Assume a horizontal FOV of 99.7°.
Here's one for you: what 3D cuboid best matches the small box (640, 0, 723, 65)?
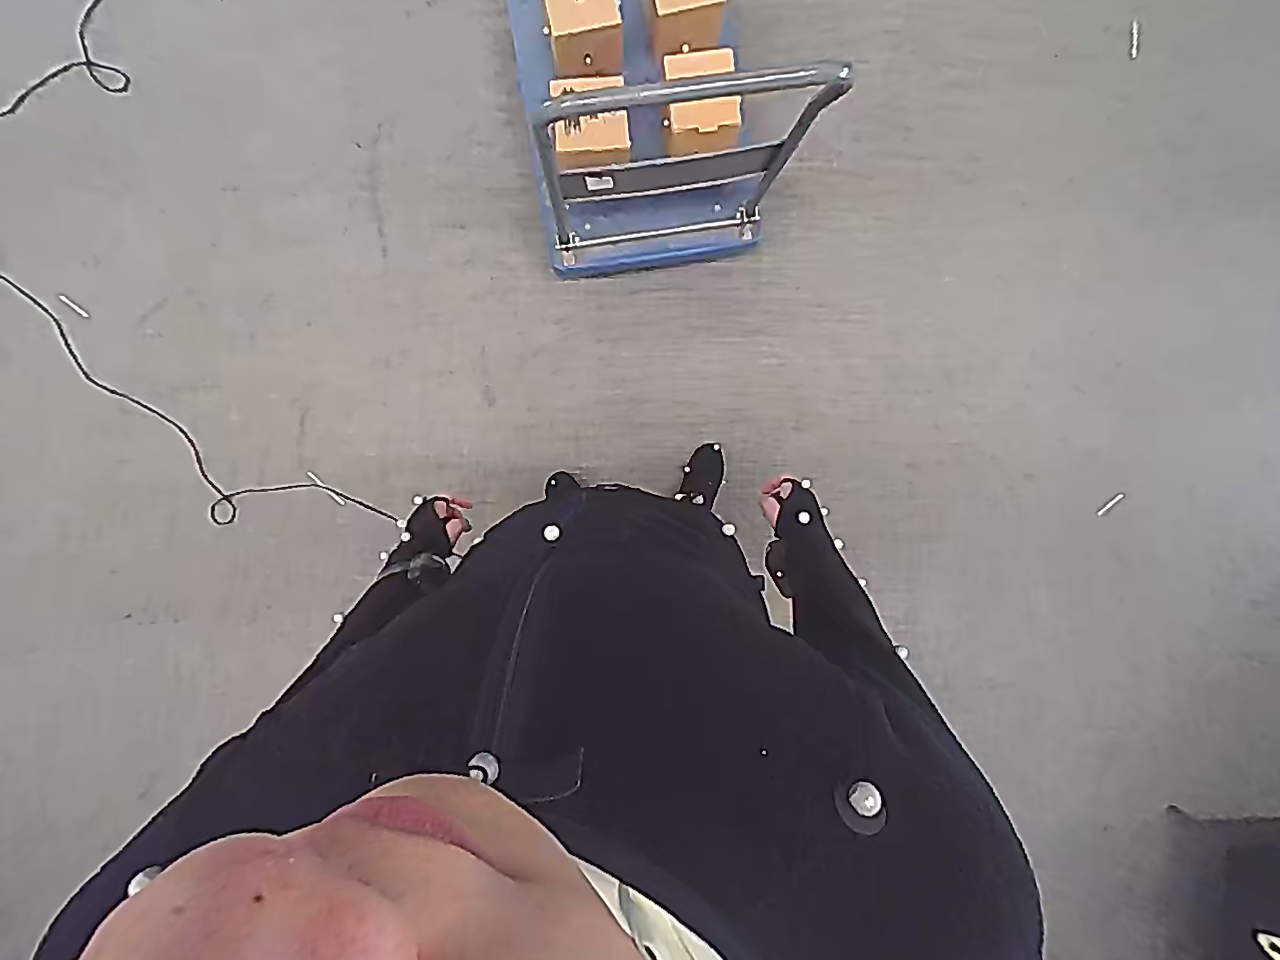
[{"bbox_3d":[0.096,-1.192,1.347,0.168,0.176,0.179,-13,94,0],"label":"small box"}]

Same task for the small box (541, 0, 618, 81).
[{"bbox_3d":[-0.149,-1.134,1.342,0.168,0.176,0.179,-13,93,-2],"label":"small box"}]

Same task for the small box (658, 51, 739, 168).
[{"bbox_3d":[0.141,-0.926,1.363,0.168,0.176,0.179,-9,93,-2],"label":"small box"}]
